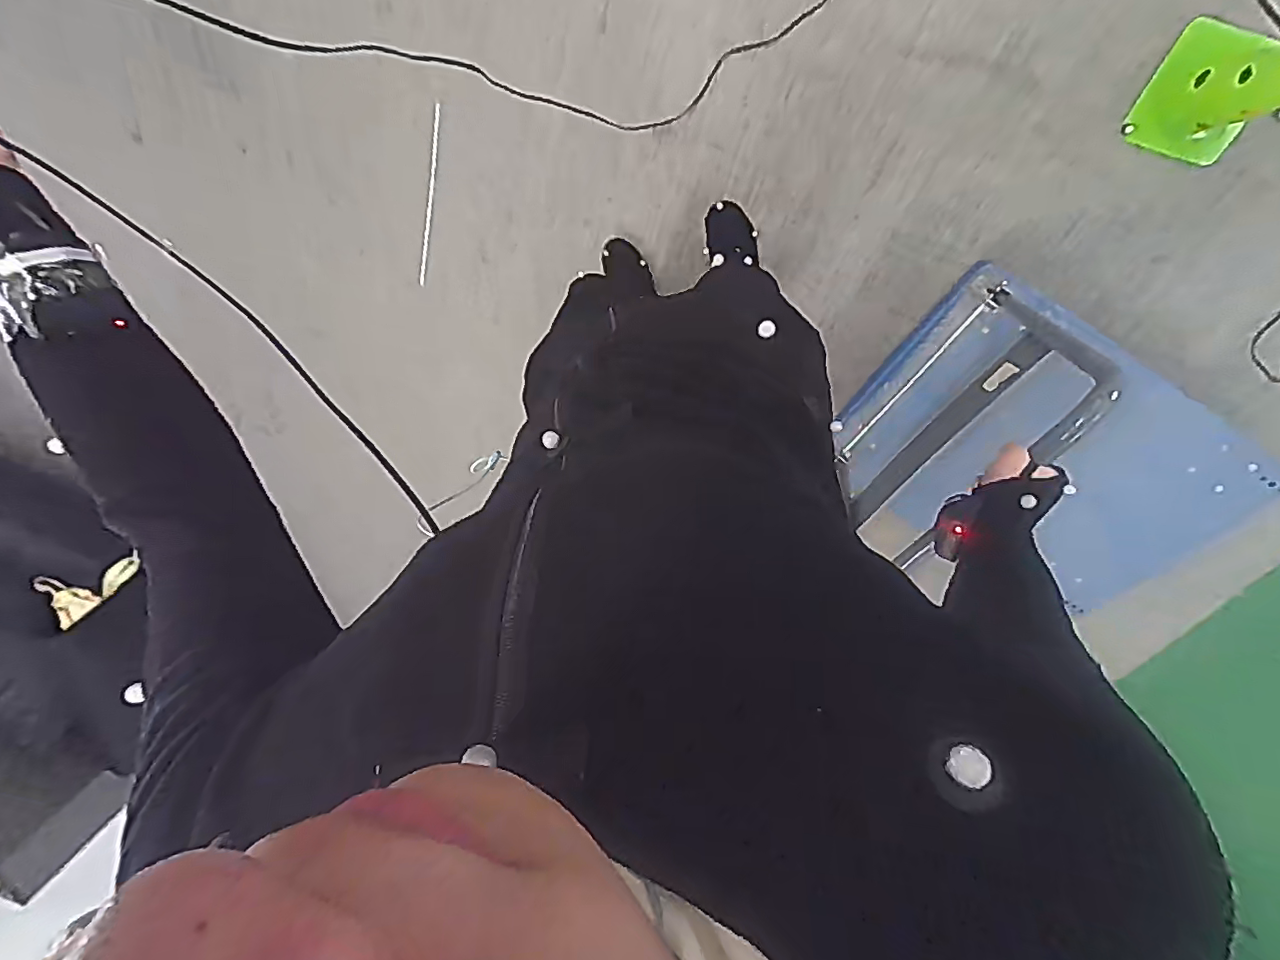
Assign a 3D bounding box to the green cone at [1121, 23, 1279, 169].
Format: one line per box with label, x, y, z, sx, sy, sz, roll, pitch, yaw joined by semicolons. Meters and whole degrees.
green cone;1.042;-0.650;0.890;0.200;0.368;0.202;20;121;3
